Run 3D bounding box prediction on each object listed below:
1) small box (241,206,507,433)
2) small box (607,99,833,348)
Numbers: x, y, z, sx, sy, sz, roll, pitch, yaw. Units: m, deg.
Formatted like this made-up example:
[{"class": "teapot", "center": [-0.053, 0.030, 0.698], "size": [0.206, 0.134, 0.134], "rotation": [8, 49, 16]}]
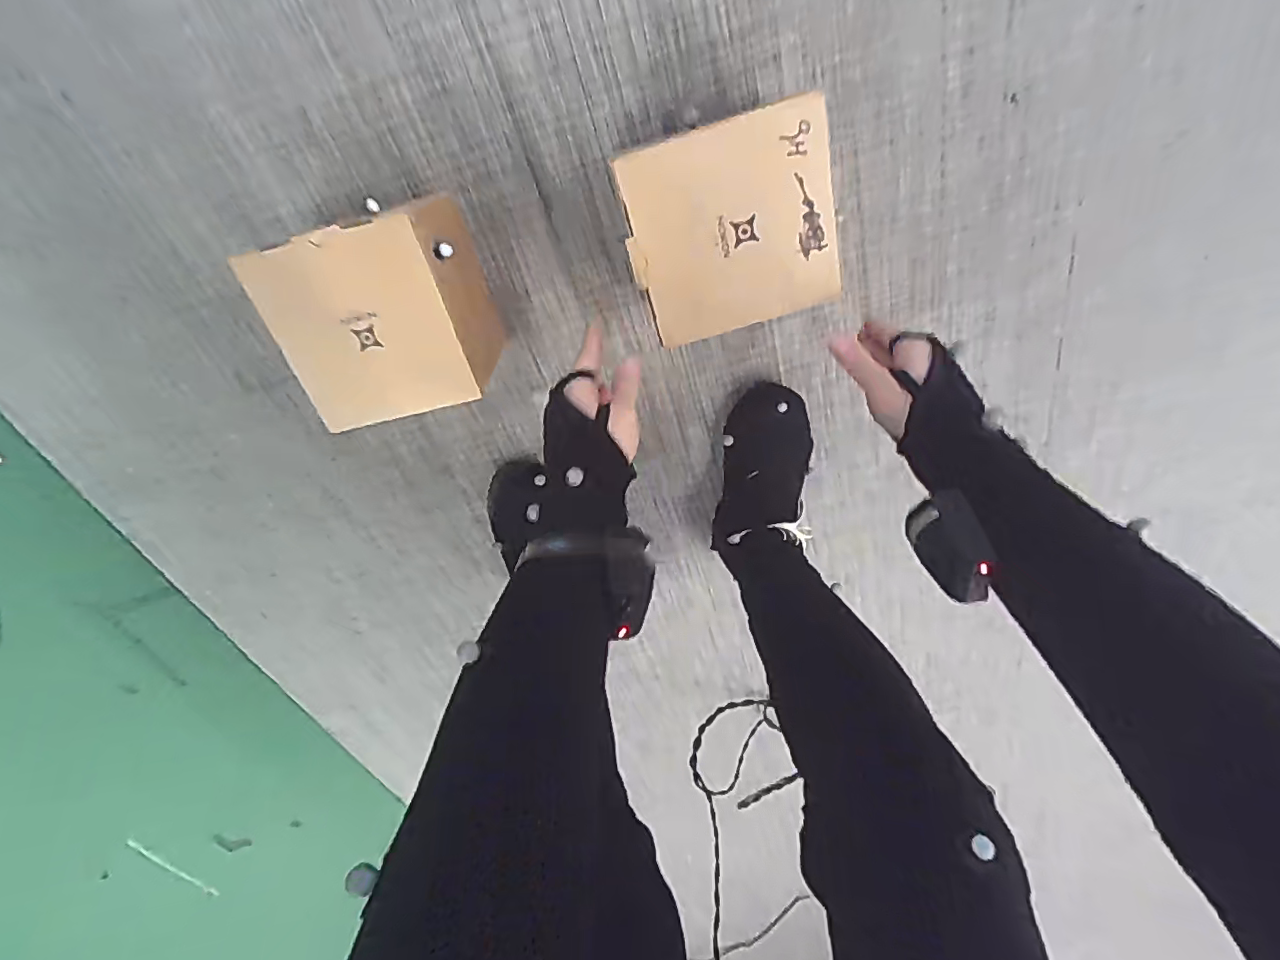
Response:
[{"class": "small box", "center": [-0.258, -0.177, 0.581], "size": [0.168, 0.176, 0.179], "rotation": [-13, 120, 5]}, {"class": "small box", "center": [0.075, -0.256, 0.545], "size": [0.179, 0.176, 0.168], "rotation": [-15, 121, 7]}]
